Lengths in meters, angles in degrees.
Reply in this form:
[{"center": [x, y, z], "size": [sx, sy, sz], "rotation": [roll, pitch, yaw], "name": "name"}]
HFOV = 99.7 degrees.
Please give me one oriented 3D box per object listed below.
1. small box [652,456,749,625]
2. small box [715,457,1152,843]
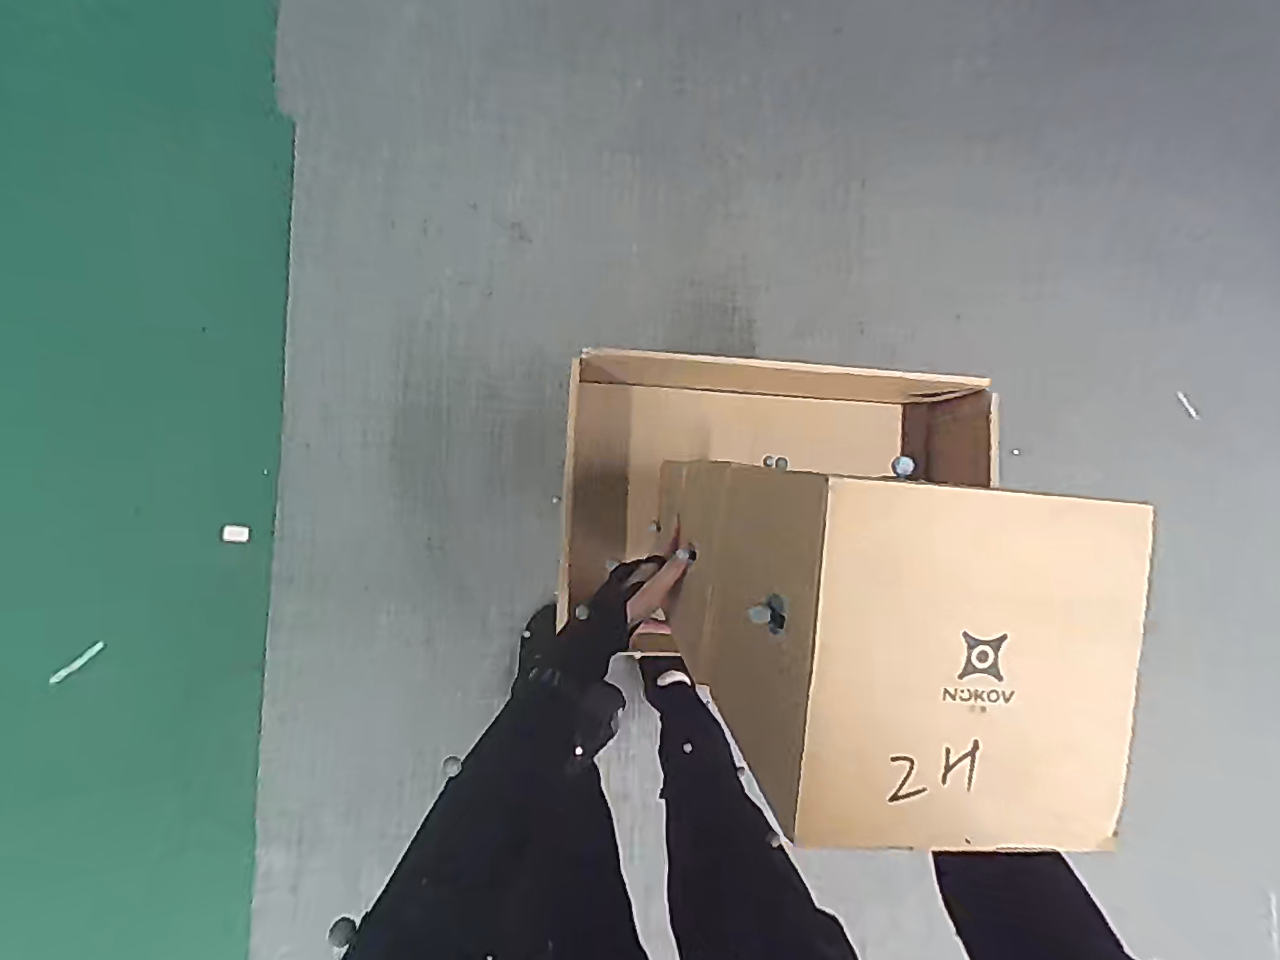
[{"center": [0.109, 0.067, 0.659], "size": [0.168, 0.176, 0.179], "rotation": [5, 93, -7], "name": "small box"}, {"center": [0.149, 0.080, 0.332], "size": [0.168, 0.176, 0.179], "rotation": [5, 92, -6], "name": "small box"}]
